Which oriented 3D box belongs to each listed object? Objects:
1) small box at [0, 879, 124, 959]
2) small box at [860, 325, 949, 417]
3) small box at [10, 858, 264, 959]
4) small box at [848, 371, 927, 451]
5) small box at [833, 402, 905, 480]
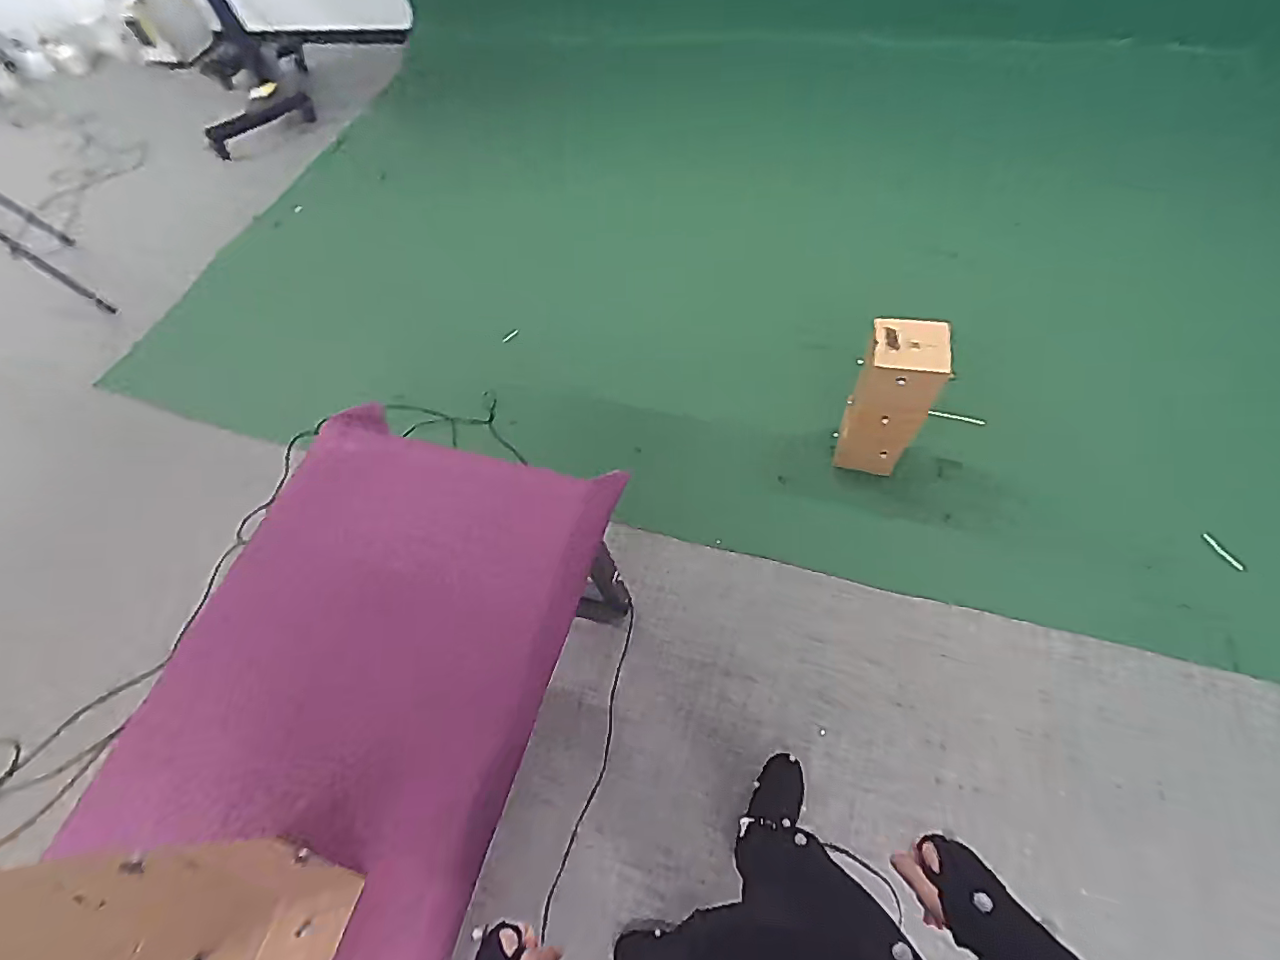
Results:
[{"bbox_3d":[-0.529,0.396,0.364,0.179,0.176,0.168,10,61,14],"label":"small box"},{"bbox_3d":[0.687,-0.282,1.421,0.179,0.176,0.168,8,62,12],"label":"small box"},{"bbox_3d":[-0.502,0.479,0.502,0.168,0.176,0.179,11,62,15],"label":"small box"},{"bbox_3d":[0.711,-0.199,1.560,0.179,0.176,0.168,9,62,15],"label":"small box"},{"bbox_3d":[0.724,-0.118,1.700,0.179,0.176,0.168,12,63,15],"label":"small box"}]
